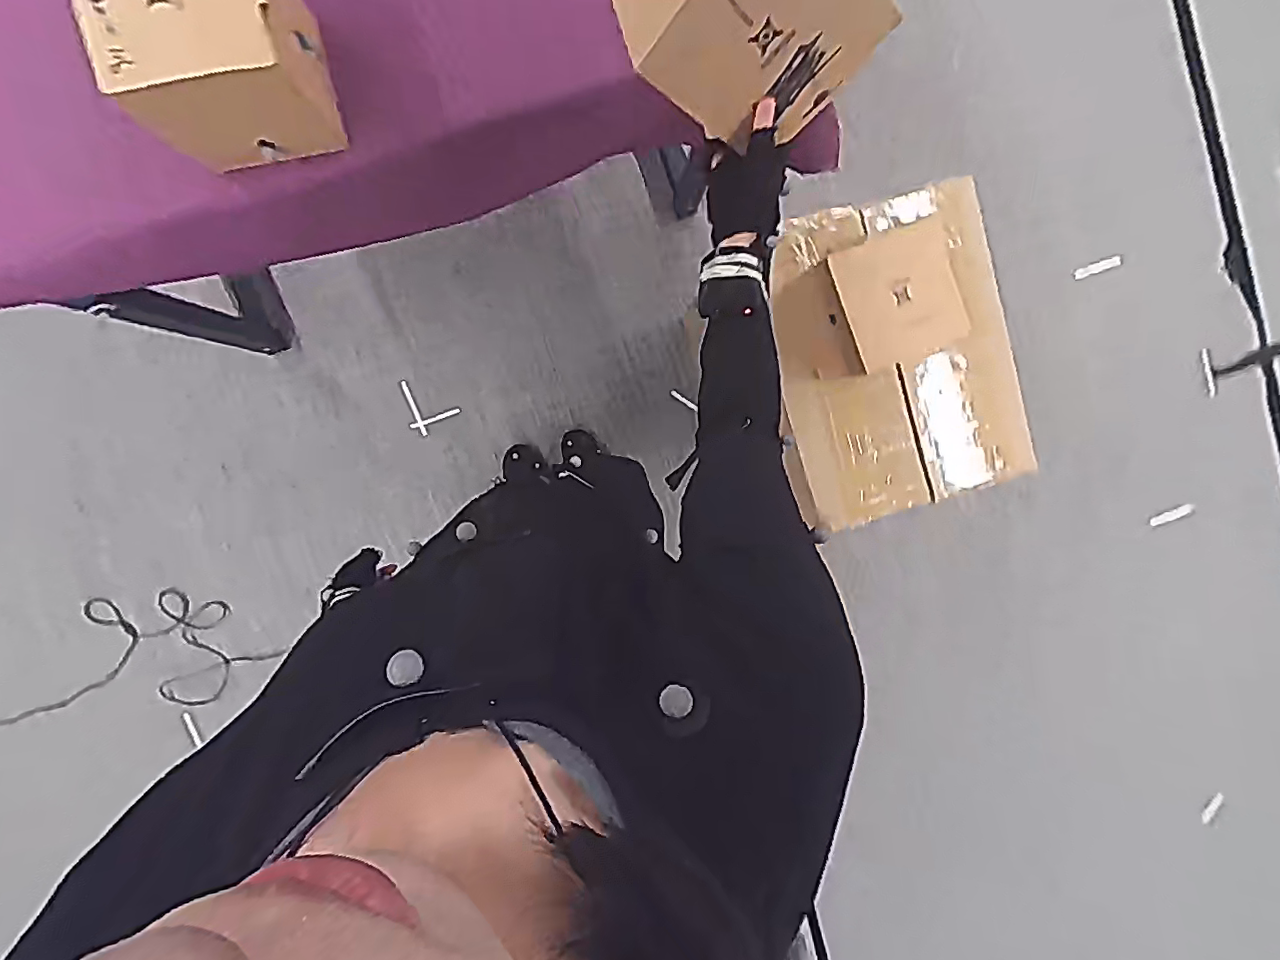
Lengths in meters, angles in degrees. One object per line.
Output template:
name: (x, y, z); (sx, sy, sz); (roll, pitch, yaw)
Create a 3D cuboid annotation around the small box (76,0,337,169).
small box: (-0.478, -0.490, 0.619); (0.179, 0.176, 0.168); (-13, 95, -5)

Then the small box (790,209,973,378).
small box: (0.350, -0.268, 0.819); (0.168, 0.176, 0.179); (-24, 98, 0)

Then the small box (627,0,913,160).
small box: (0.103, -0.445, 0.482); (0.179, 0.168, 0.176); (8, 61, -42)
